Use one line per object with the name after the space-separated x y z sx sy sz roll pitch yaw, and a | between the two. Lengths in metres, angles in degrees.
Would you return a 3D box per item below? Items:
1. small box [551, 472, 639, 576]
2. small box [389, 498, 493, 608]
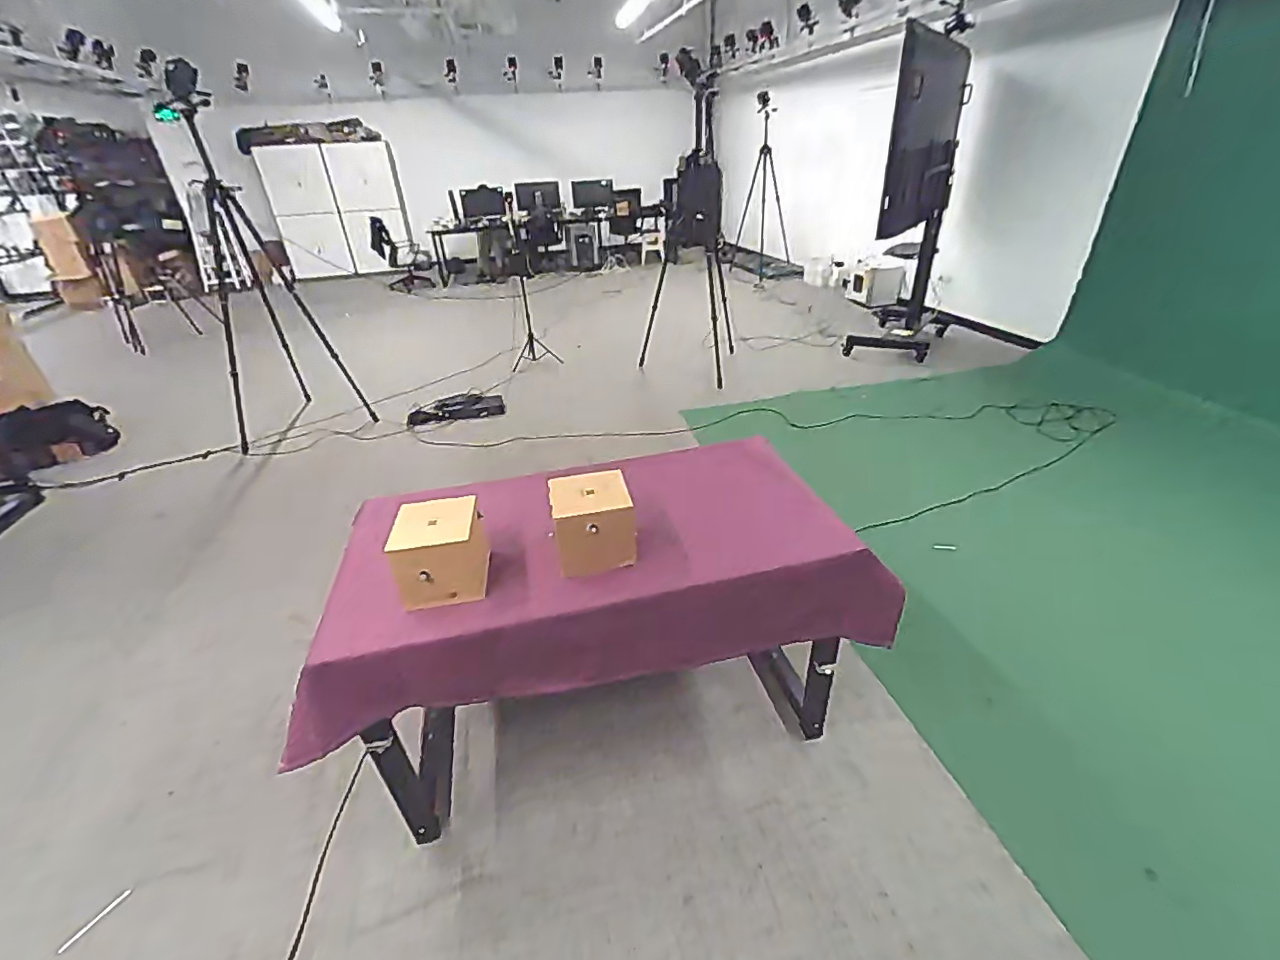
-0.105 0.103 1.256 0.179 0.176 0.168 -9 32 -8 | small box
-0.427 0.165 1.193 0.168 0.176 0.179 -8 30 -6 | small box
